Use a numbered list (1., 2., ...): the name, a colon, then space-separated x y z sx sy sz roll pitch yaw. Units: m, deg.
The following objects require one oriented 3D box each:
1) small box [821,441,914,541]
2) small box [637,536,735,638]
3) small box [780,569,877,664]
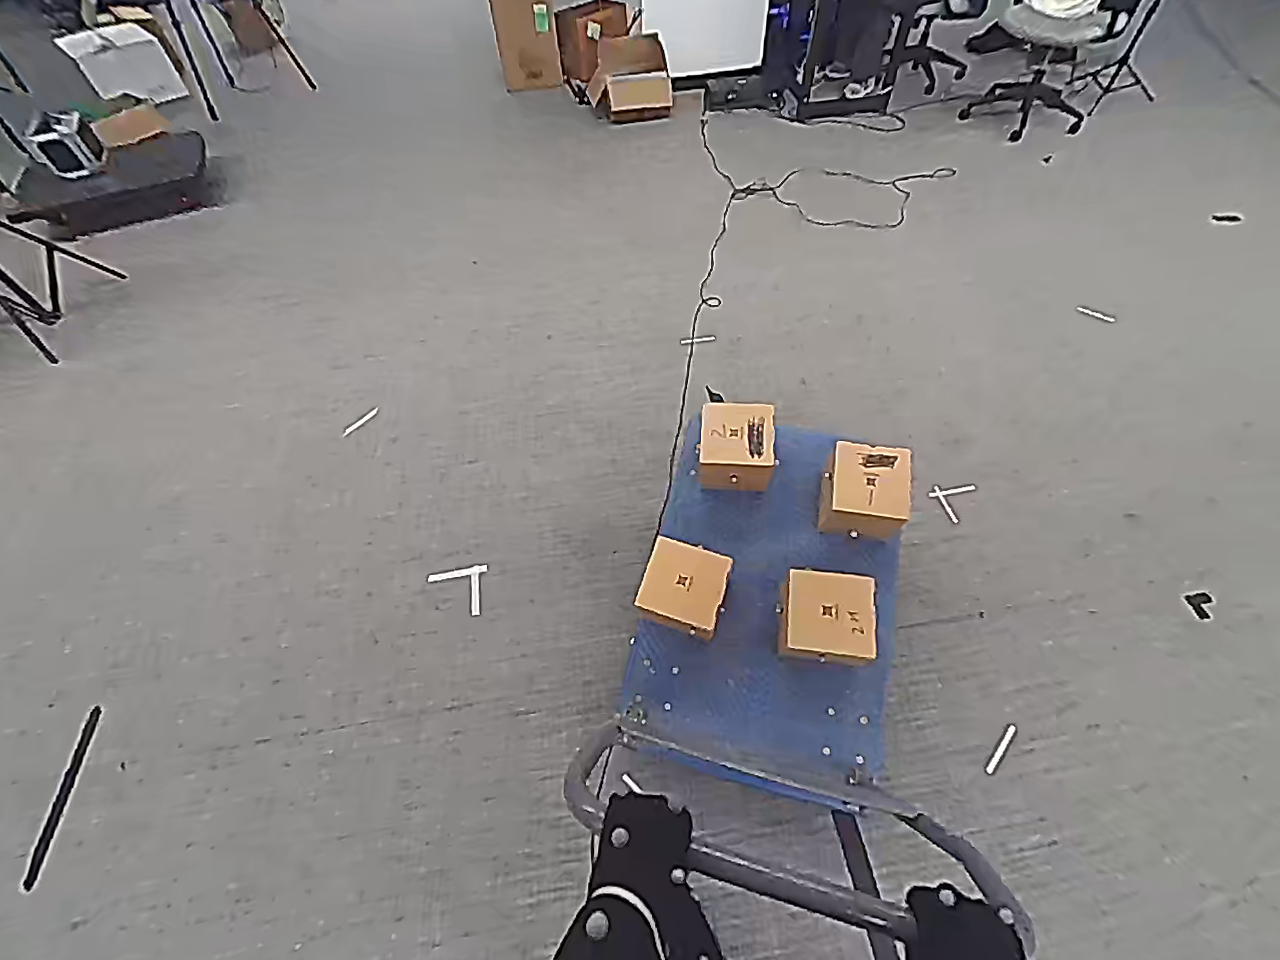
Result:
1. small box: 0.534 0.030 1.285 0.168 0.176 0.179 8 69 10
2. small box: 0.106 0.252 1.240 0.179 0.176 0.168 17 69 11
3. small box: 0.405 0.304 1.182 0.179 0.176 0.168 5 68 9
